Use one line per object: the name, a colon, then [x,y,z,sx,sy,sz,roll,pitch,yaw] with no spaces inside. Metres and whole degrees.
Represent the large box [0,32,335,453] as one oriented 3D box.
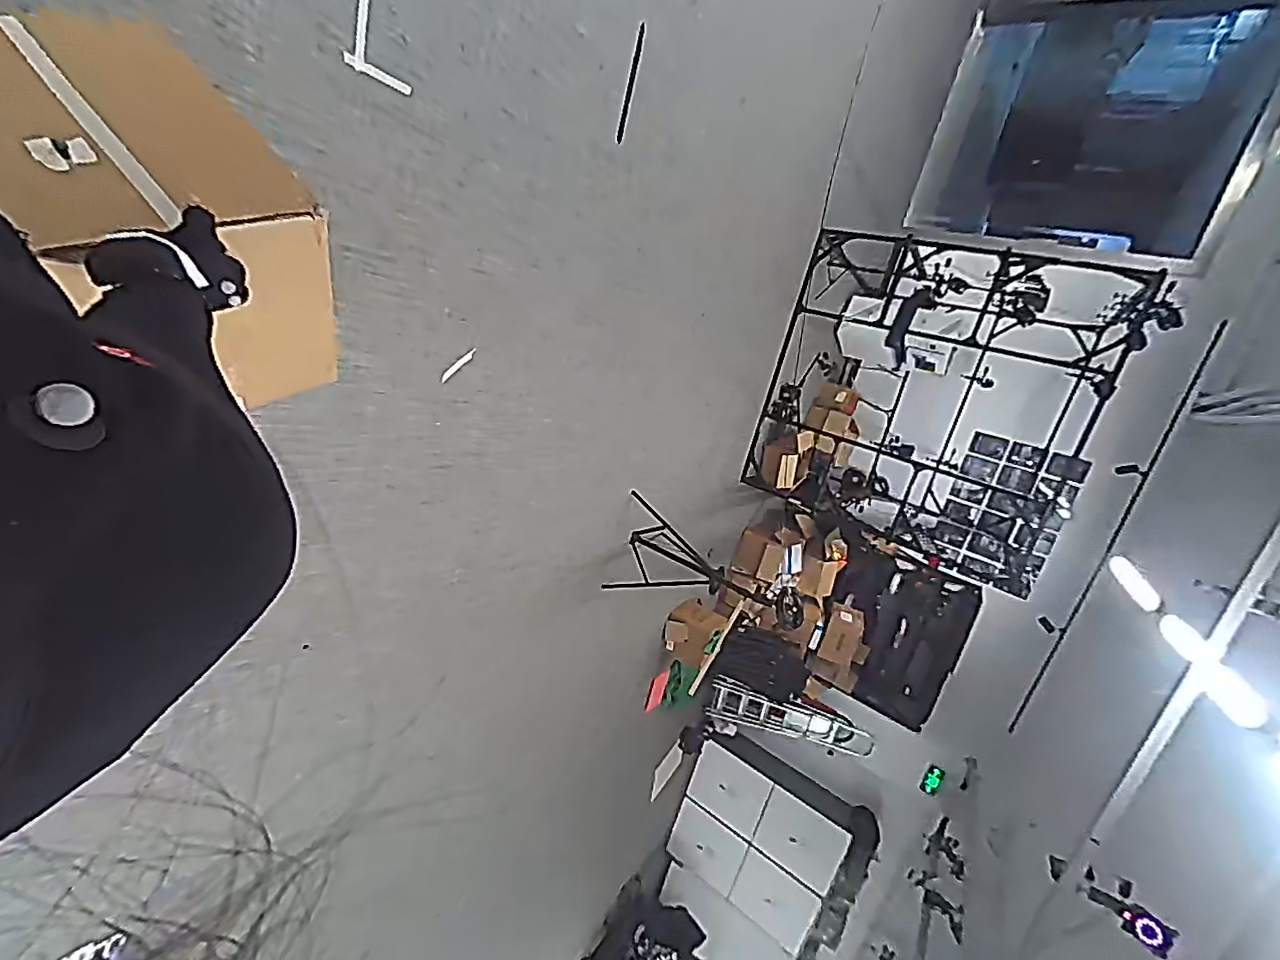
large box: [-0.683,-0.317,0.737,0.320,0.408,0.320,-36,169,-38]
